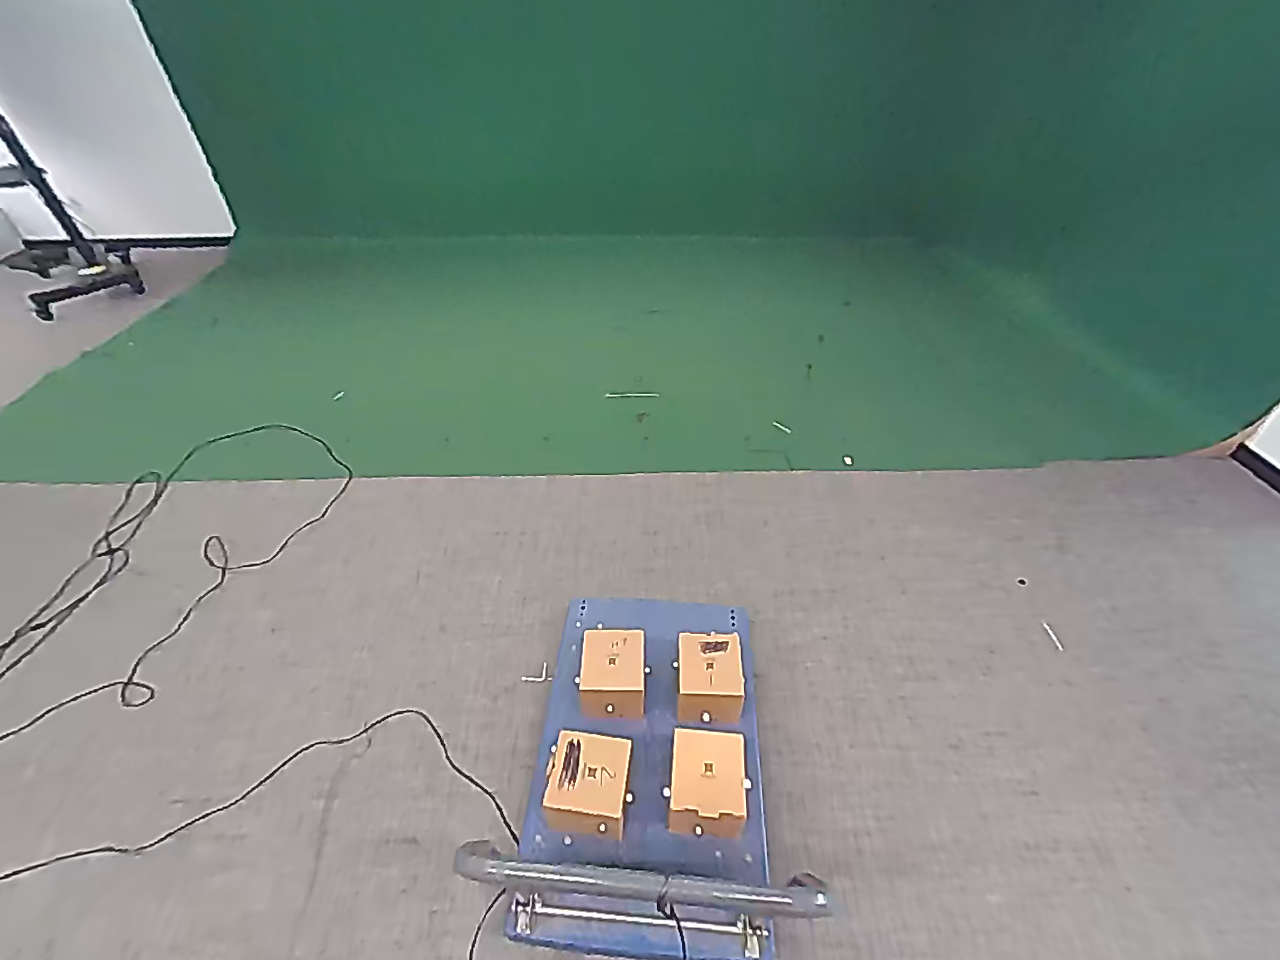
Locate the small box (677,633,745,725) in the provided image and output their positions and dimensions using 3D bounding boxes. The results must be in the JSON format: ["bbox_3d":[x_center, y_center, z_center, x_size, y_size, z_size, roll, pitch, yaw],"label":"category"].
[{"bbox_3d":[0.187,0.540,1.467,0.168,0.176,0.179,1,43,3],"label":"small box"}]

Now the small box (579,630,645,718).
[{"bbox_3d":[-0.070,0.533,1.476,0.168,0.176,0.179,1,43,0],"label":"small box"}]

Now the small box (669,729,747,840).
[{"bbox_3d":[0.157,0.718,1.277,0.168,0.176,0.179,4,43,4],"label":"small box"}]
